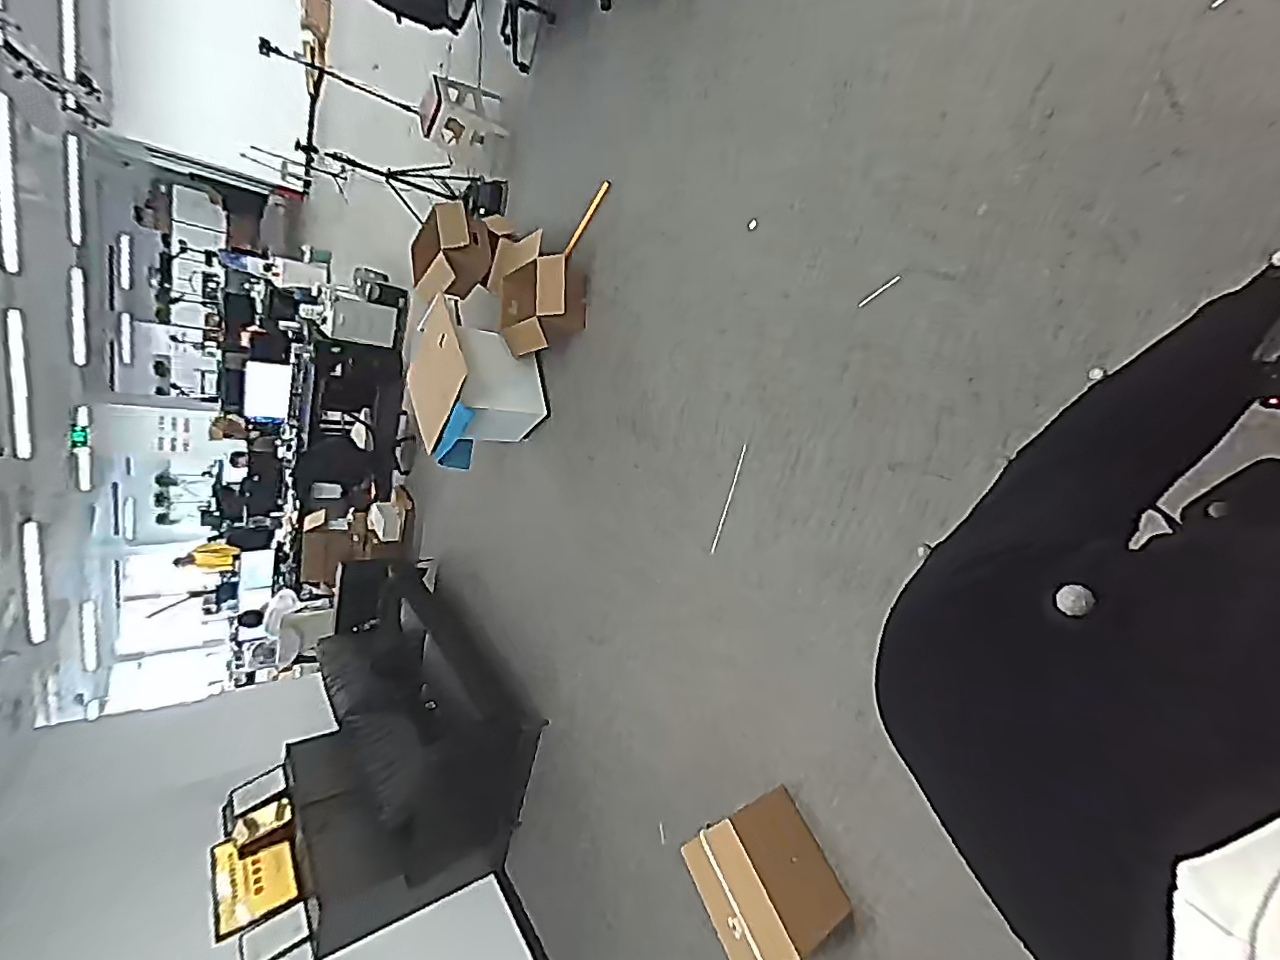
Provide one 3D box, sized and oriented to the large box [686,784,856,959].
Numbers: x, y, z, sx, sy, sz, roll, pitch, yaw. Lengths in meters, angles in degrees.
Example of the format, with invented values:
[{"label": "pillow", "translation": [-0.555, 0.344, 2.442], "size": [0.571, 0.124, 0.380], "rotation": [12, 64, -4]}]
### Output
[{"label": "large box", "translation": [0.435, 1.346, 1.840], "size": [0.408, 0.320, 0.320], "rotation": [57, 130, 32]}]
